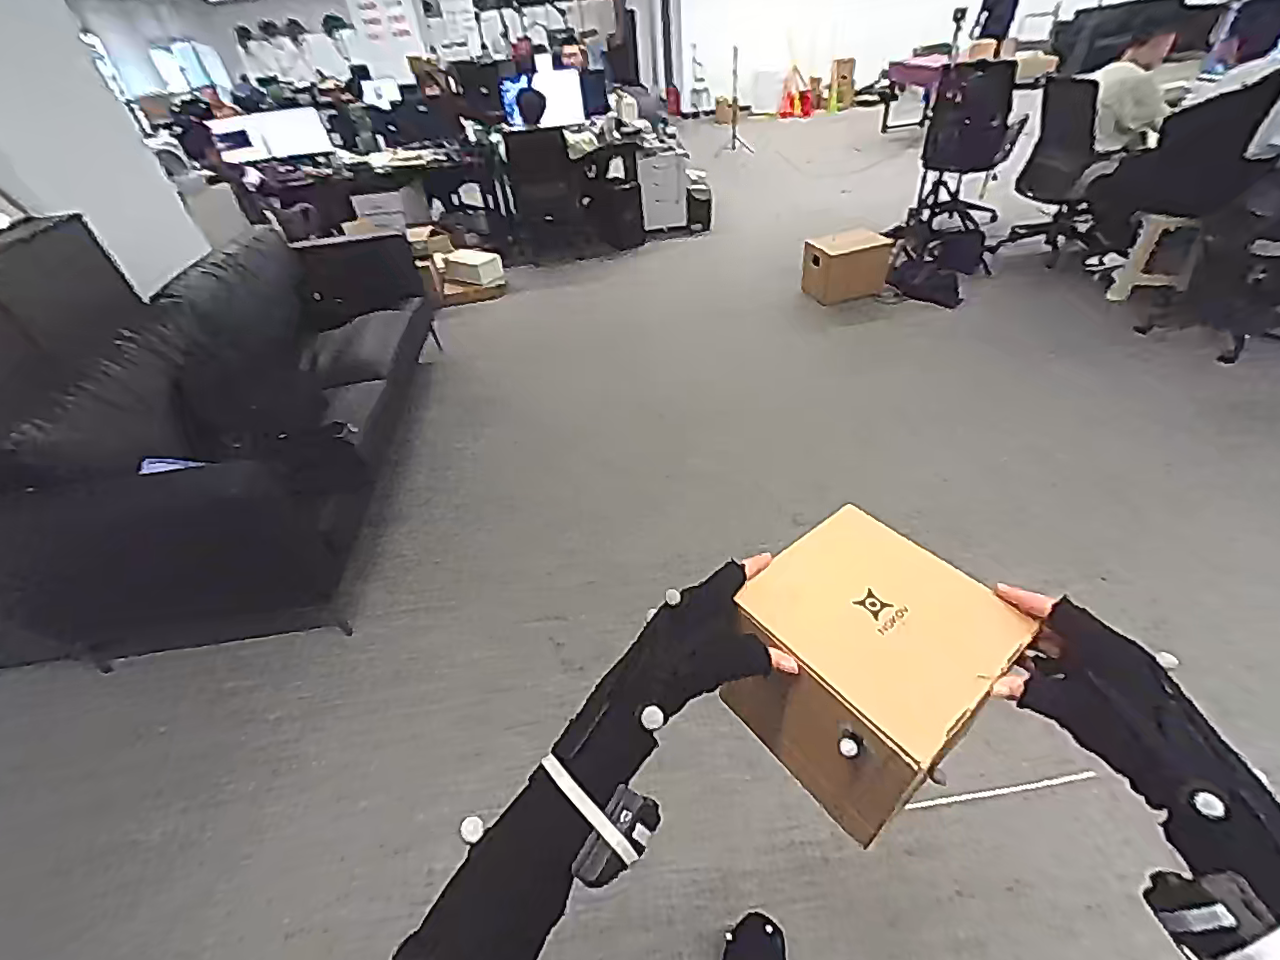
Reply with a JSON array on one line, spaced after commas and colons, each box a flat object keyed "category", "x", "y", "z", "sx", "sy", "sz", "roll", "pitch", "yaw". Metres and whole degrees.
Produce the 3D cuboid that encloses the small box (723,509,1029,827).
[{"category": "small box", "x": 0.190, "y": 0.164, "z": 0.489, "sx": 0.168, "sy": 0.176, "sz": 0.179, "roll": -28, "pitch": 47, "yaw": -25}]
